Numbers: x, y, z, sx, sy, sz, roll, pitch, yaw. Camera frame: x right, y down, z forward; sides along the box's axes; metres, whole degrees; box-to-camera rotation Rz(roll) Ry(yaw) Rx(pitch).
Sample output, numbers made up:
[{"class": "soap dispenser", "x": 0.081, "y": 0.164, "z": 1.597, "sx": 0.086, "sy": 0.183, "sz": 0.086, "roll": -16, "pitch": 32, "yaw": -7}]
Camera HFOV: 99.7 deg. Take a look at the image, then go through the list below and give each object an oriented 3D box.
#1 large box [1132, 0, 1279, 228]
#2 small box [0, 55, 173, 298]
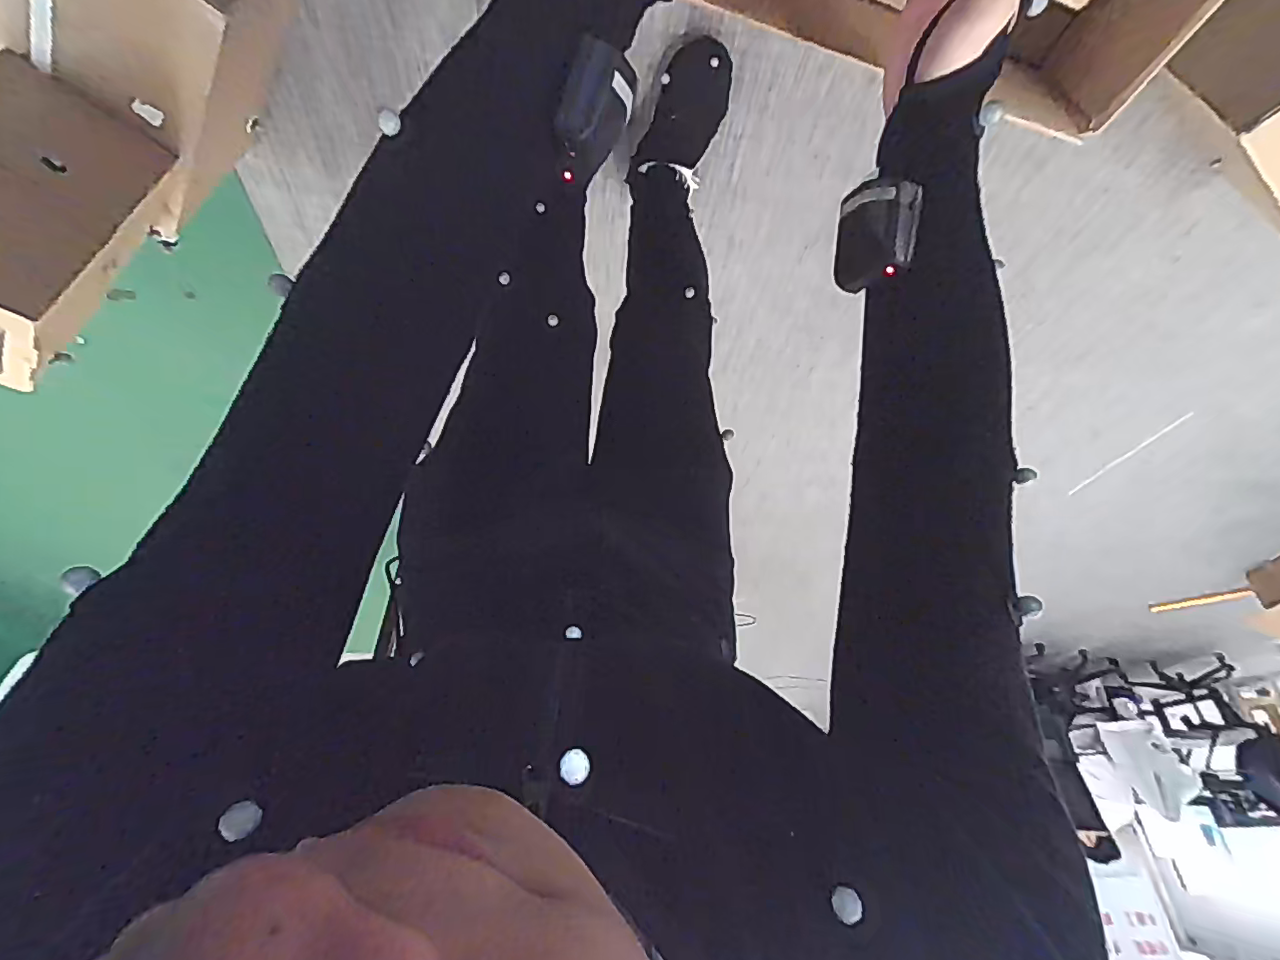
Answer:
[{"class": "large box", "x": 1.027, "y": -0.590, "z": 0.766, "sx": 0.408, "sy": 0.320, "sz": 0.320, "roll": 20, "pitch": 142, "yaw": -25}, {"class": "small box", "x": -0.748, "y": -0.380, "z": 0.689, "sx": 0.168, "sy": 0.176, "sz": 0.179, "roll": -26, "pitch": 138, "yaw": 34}]
